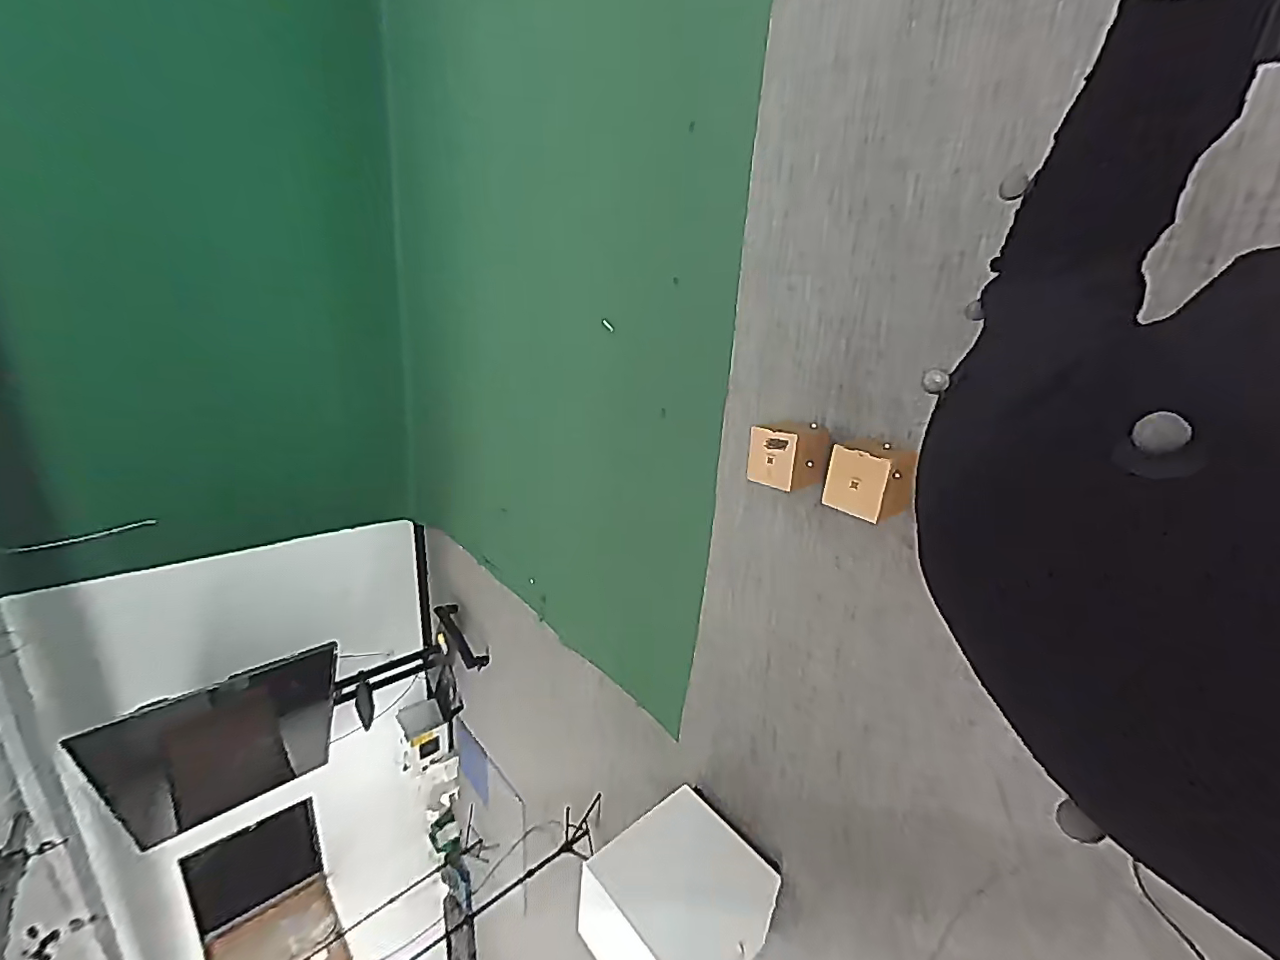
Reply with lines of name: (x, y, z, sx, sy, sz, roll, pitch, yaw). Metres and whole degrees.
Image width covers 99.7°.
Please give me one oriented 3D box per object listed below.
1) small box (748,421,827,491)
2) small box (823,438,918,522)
small box: (0.458, -0.082, 1.671, 0.168, 0.176, 0.179, 21, 115, 45)
small box: (0.634, -0.006, 1.482, 0.168, 0.176, 0.179, 25, 116, 44)
